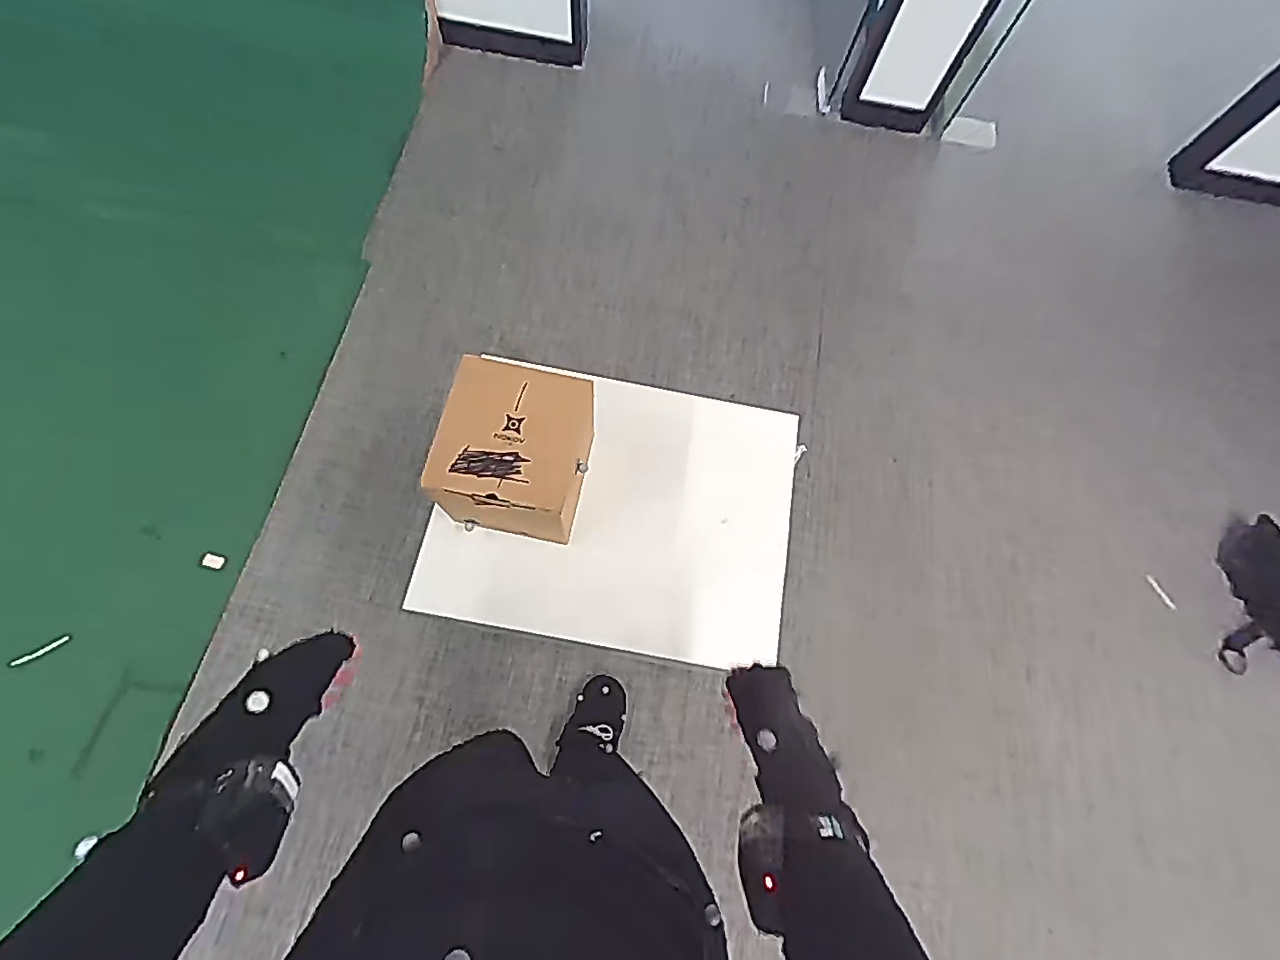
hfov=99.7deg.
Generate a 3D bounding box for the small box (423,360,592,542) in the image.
[{"bbox_3d":[-0.159,-0.028,0.717,0.168,0.176,0.179,12,70,-1],"label":"small box"}]
